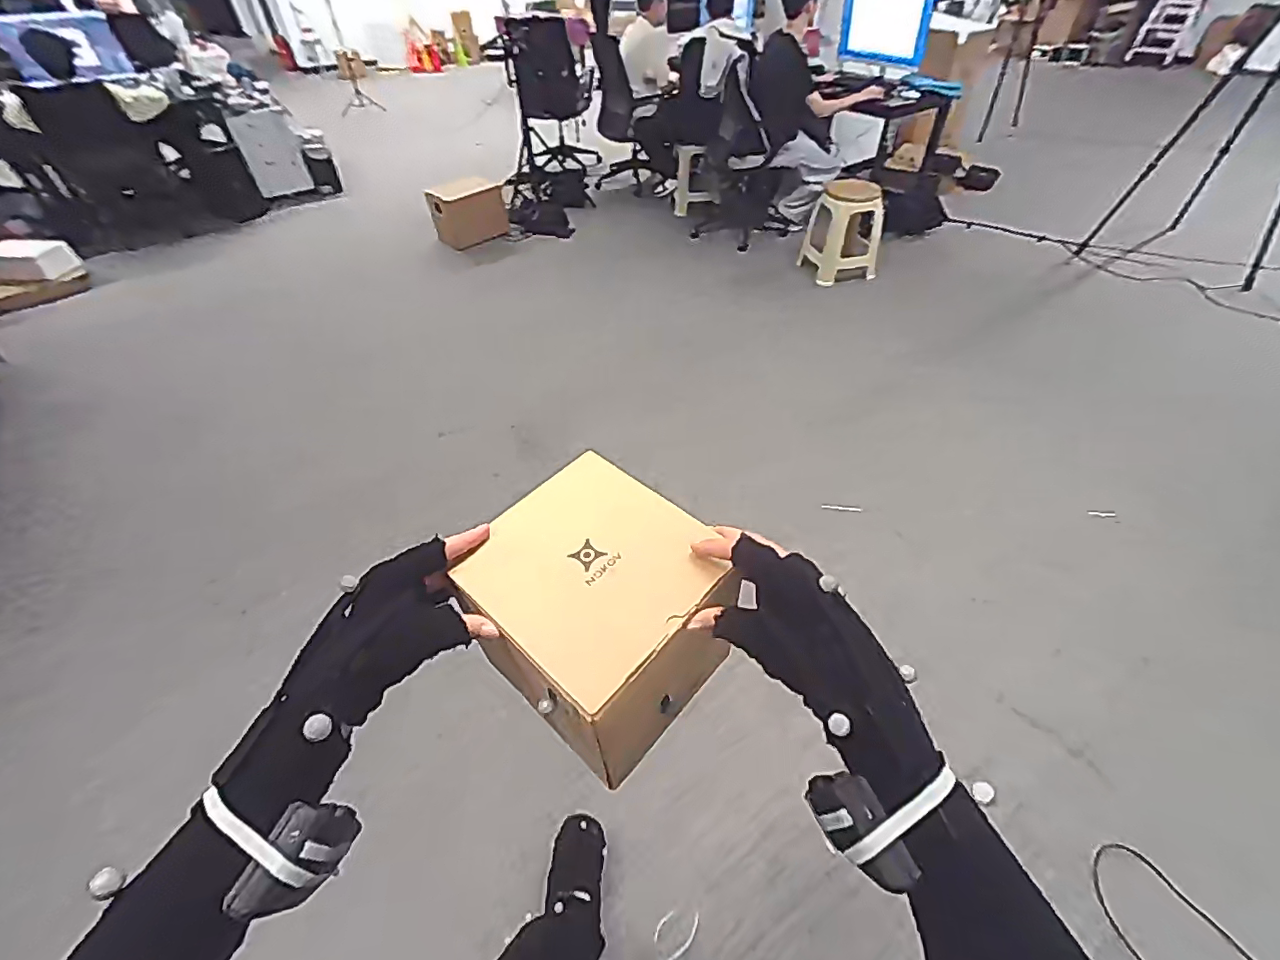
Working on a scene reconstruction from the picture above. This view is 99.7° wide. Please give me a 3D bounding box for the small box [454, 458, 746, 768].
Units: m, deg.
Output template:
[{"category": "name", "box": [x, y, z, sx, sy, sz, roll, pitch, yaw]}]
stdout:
[{"category": "small box", "box": [-0.032, 0.118, 0.485, 0.179, 0.176, 0.168, 34, 57, 28]}]
